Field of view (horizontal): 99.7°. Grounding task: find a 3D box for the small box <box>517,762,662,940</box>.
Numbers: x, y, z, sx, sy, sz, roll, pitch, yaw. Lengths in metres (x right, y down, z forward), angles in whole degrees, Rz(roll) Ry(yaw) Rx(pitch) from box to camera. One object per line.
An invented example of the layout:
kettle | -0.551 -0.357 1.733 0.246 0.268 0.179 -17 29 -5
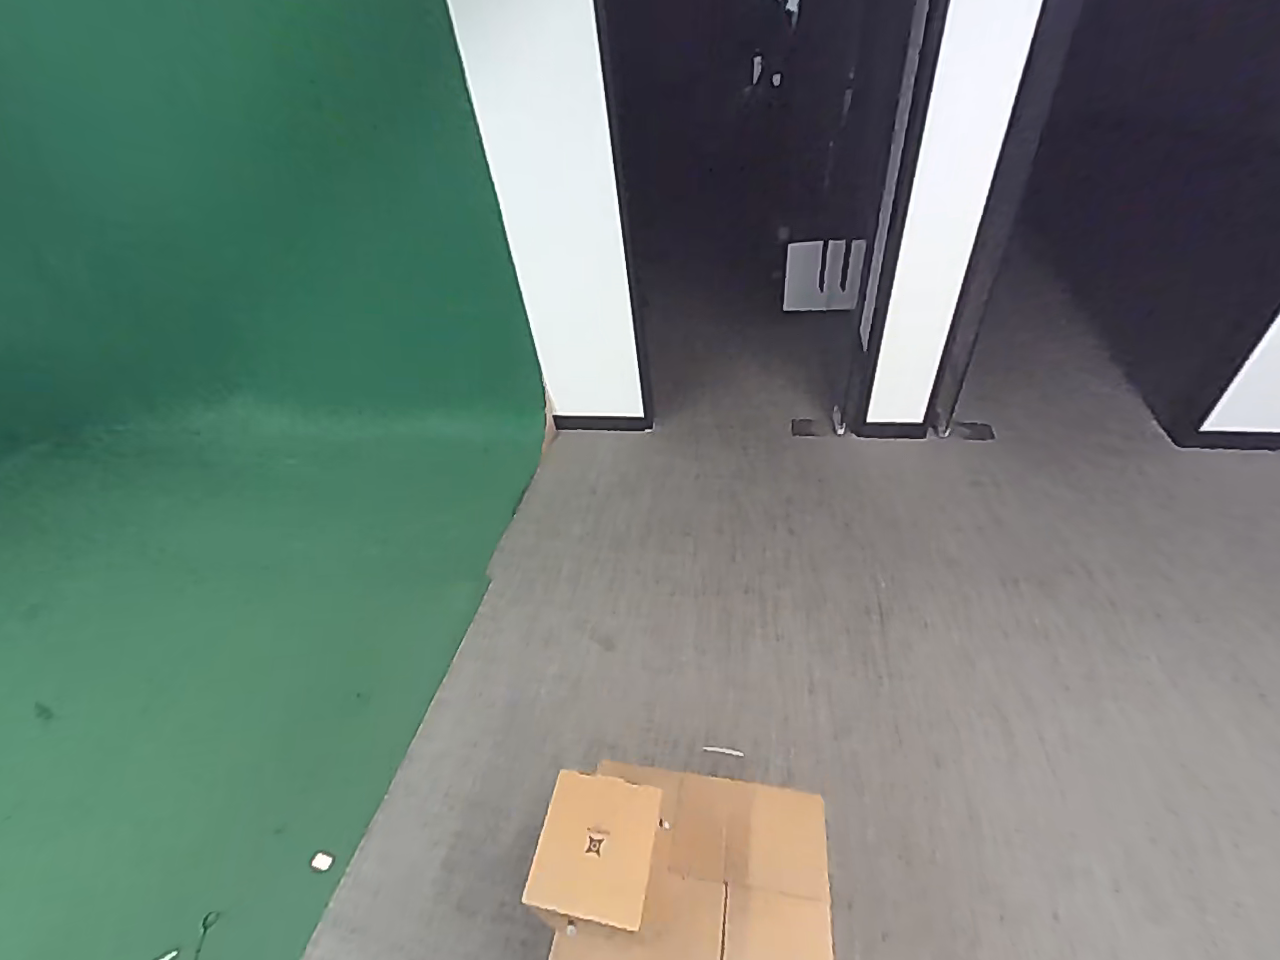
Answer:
small box | -0.063 0.568 0.828 0.168 0.176 0.179 5 43 12
